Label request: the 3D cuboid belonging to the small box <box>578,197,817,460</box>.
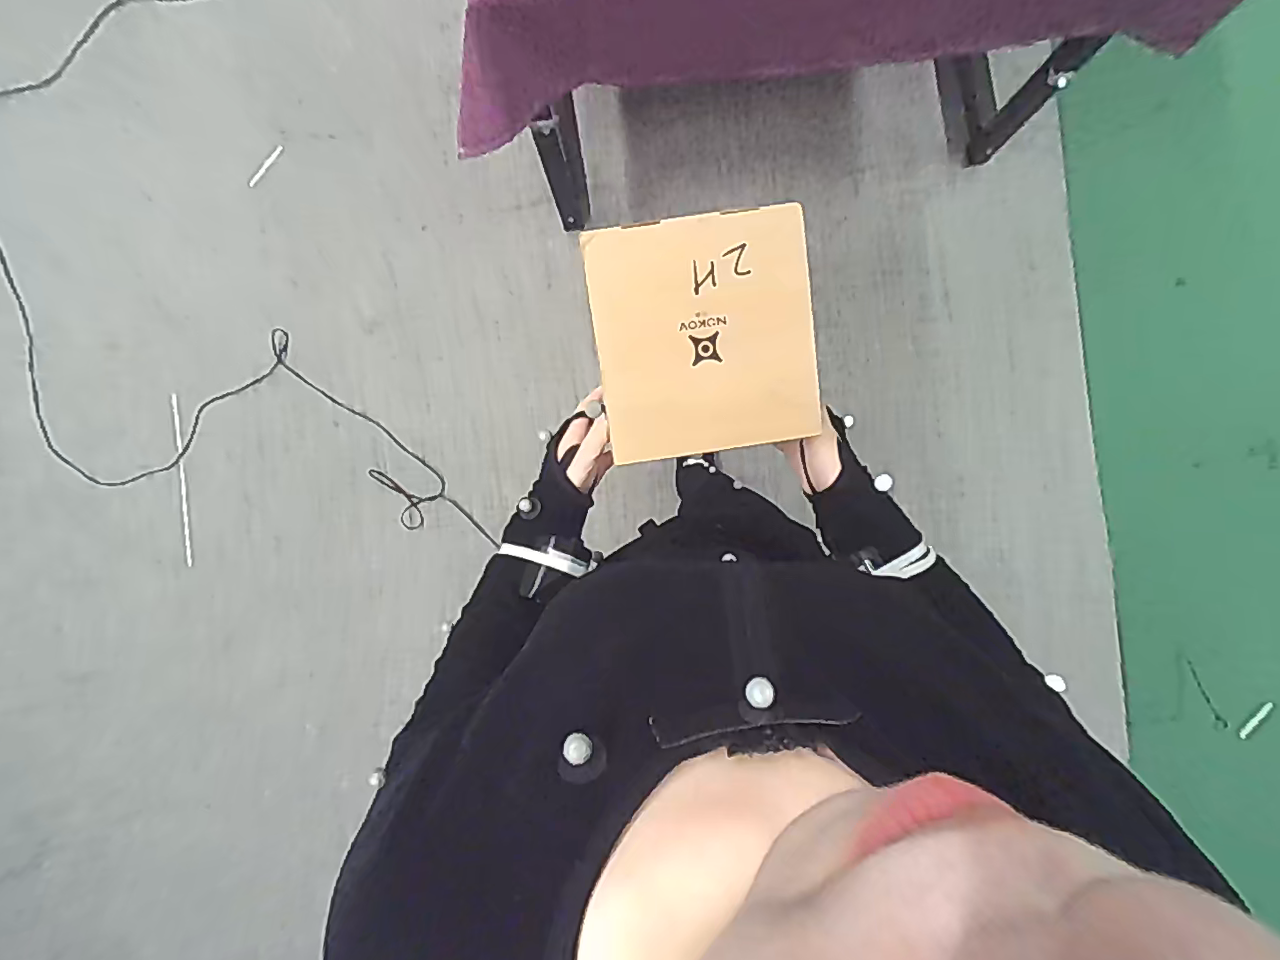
[{"bbox_3d":[0.043,-0.123,0.483,0.168,0.176,0.179,-9,99,-2],"label":"small box"}]
